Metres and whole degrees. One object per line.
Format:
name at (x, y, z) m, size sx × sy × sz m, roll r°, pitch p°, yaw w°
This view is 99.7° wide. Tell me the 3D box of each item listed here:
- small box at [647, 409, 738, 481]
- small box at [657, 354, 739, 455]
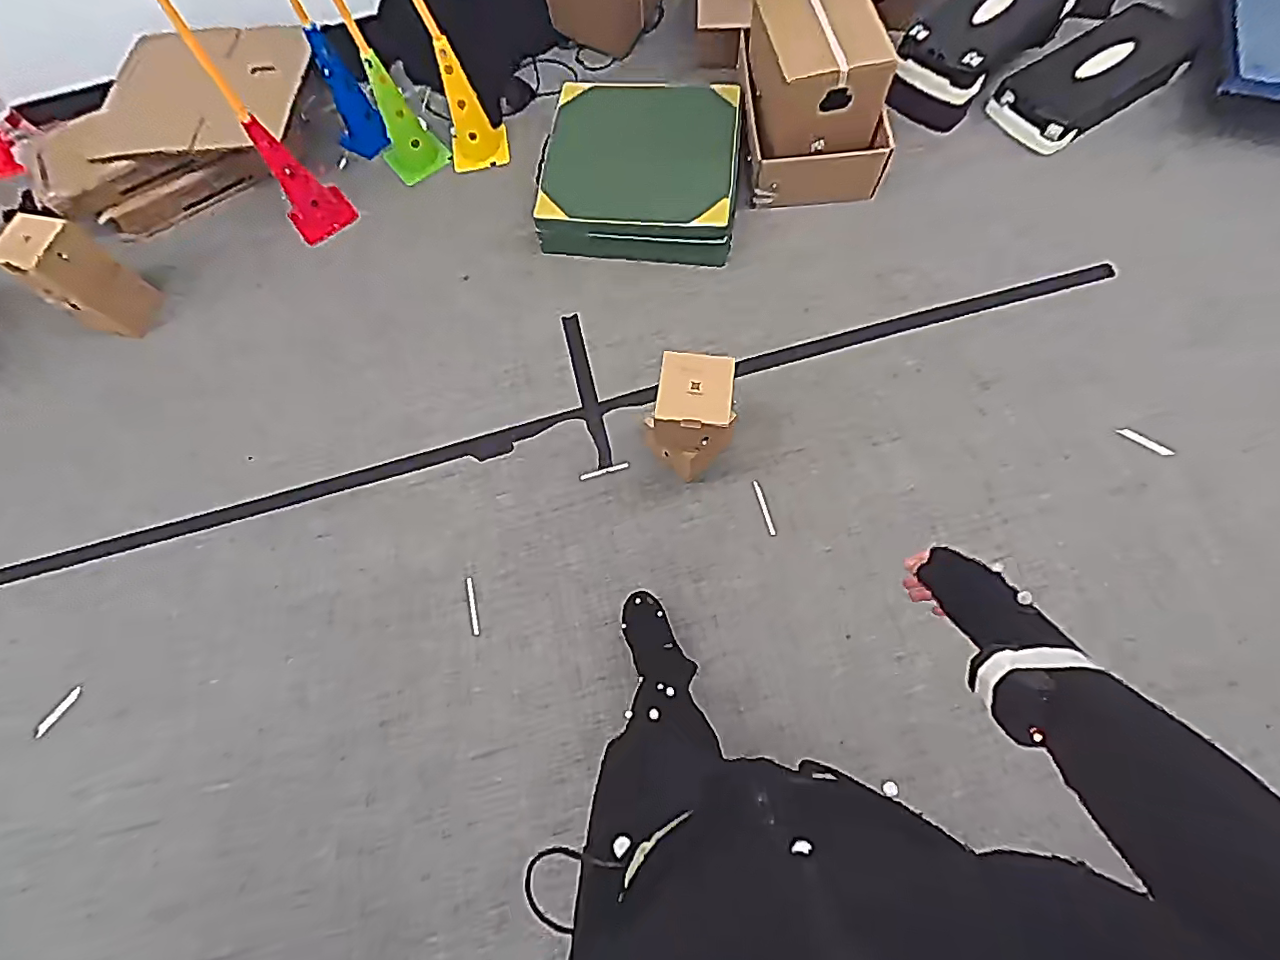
small box at (0.140, -0.126, 1.435) m, size 0.168 × 0.176 × 0.179 m, roll 40°, pitch 77°, yaw 17°
small box at (0.135, -0.171, 1.275) m, size 0.168 × 0.176 × 0.179 m, roll 7°, pitch 71°, yaw 6°
